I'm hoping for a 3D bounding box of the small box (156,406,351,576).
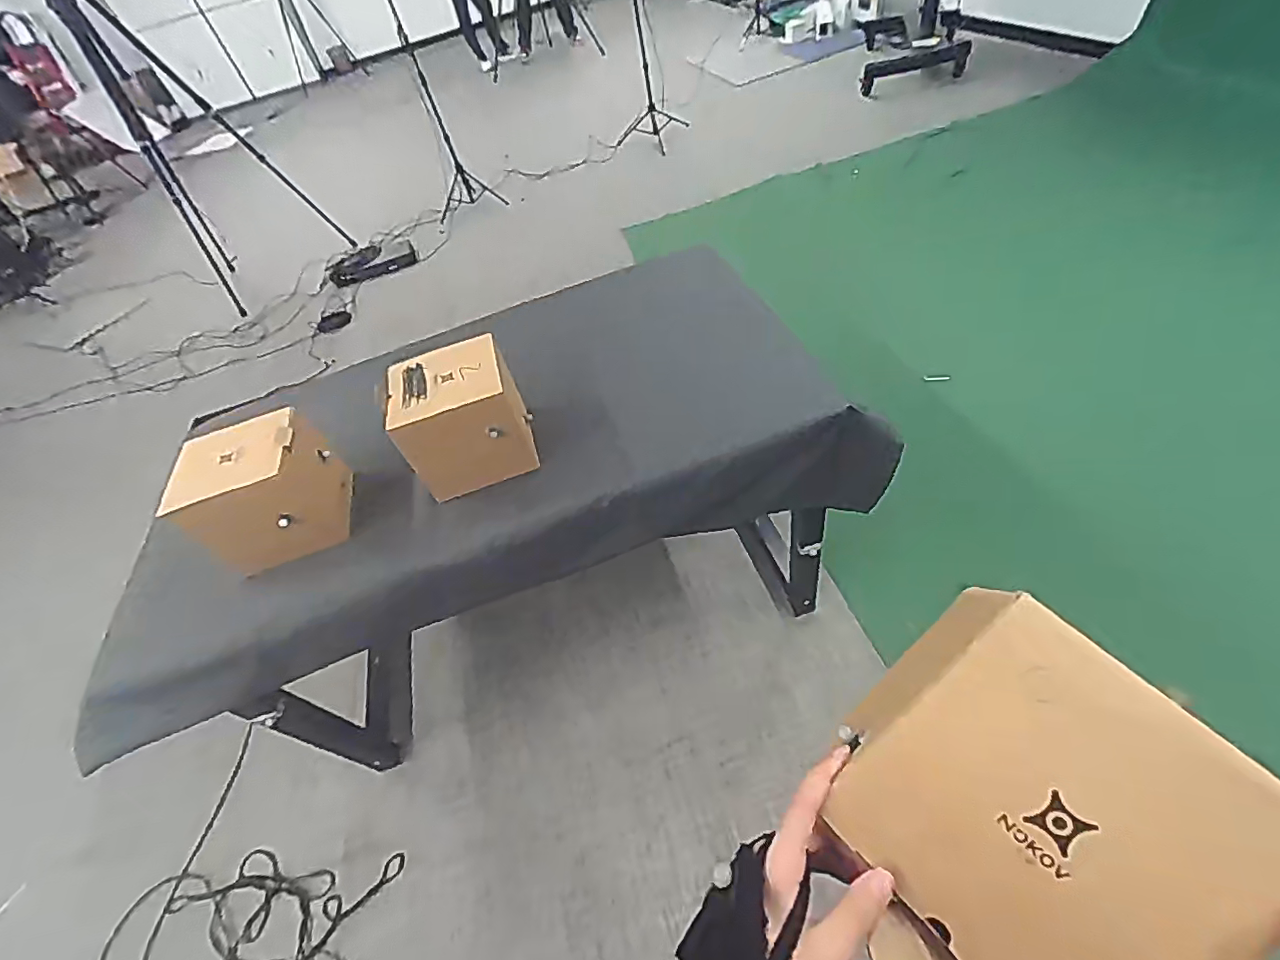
[{"bbox_3d":[-0.583,0.020,0.848,0.179,0.176,0.168,-21,47,-3],"label":"small box"}]
